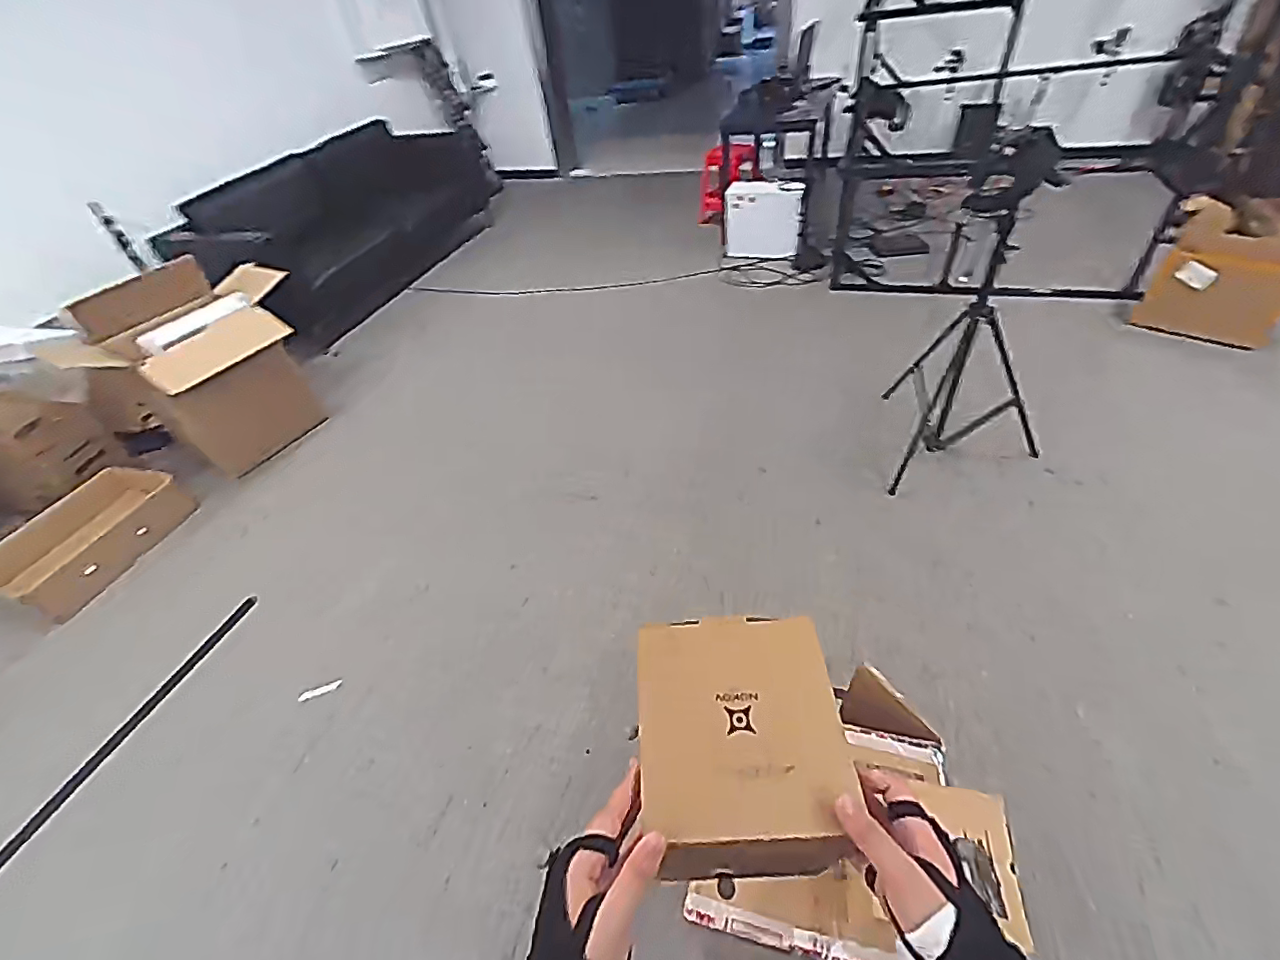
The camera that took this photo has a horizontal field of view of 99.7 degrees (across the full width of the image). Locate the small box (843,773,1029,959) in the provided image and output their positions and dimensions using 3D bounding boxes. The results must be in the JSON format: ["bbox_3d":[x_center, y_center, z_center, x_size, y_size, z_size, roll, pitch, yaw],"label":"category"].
[{"bbox_3d":[0.386,0.531,0.744,0.179,0.176,0.168,5,48,13],"label":"small box"}]

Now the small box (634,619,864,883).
[{"bbox_3d":[0.077,0.249,0.501,0.168,0.176,0.179,-2,46,-1],"label":"small box"}]
